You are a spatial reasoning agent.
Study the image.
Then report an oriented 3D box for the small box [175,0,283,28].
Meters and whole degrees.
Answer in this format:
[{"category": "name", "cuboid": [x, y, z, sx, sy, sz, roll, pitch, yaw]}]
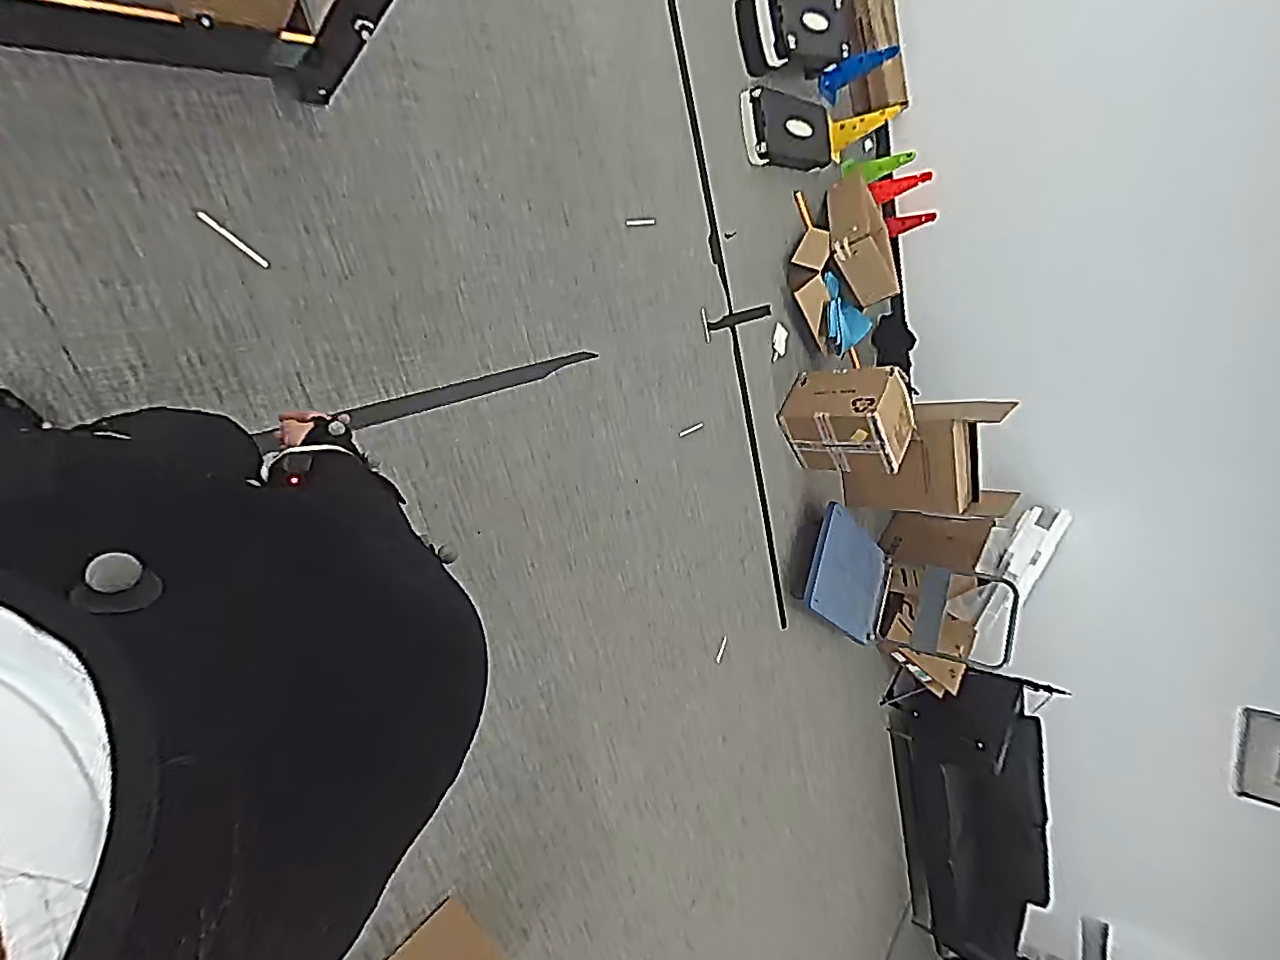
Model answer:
[{"category": "small box", "cuboid": [-0.727, -0.924, 0.922, 0.168, 0.176, 0.179, -27, 111, -41]}]
